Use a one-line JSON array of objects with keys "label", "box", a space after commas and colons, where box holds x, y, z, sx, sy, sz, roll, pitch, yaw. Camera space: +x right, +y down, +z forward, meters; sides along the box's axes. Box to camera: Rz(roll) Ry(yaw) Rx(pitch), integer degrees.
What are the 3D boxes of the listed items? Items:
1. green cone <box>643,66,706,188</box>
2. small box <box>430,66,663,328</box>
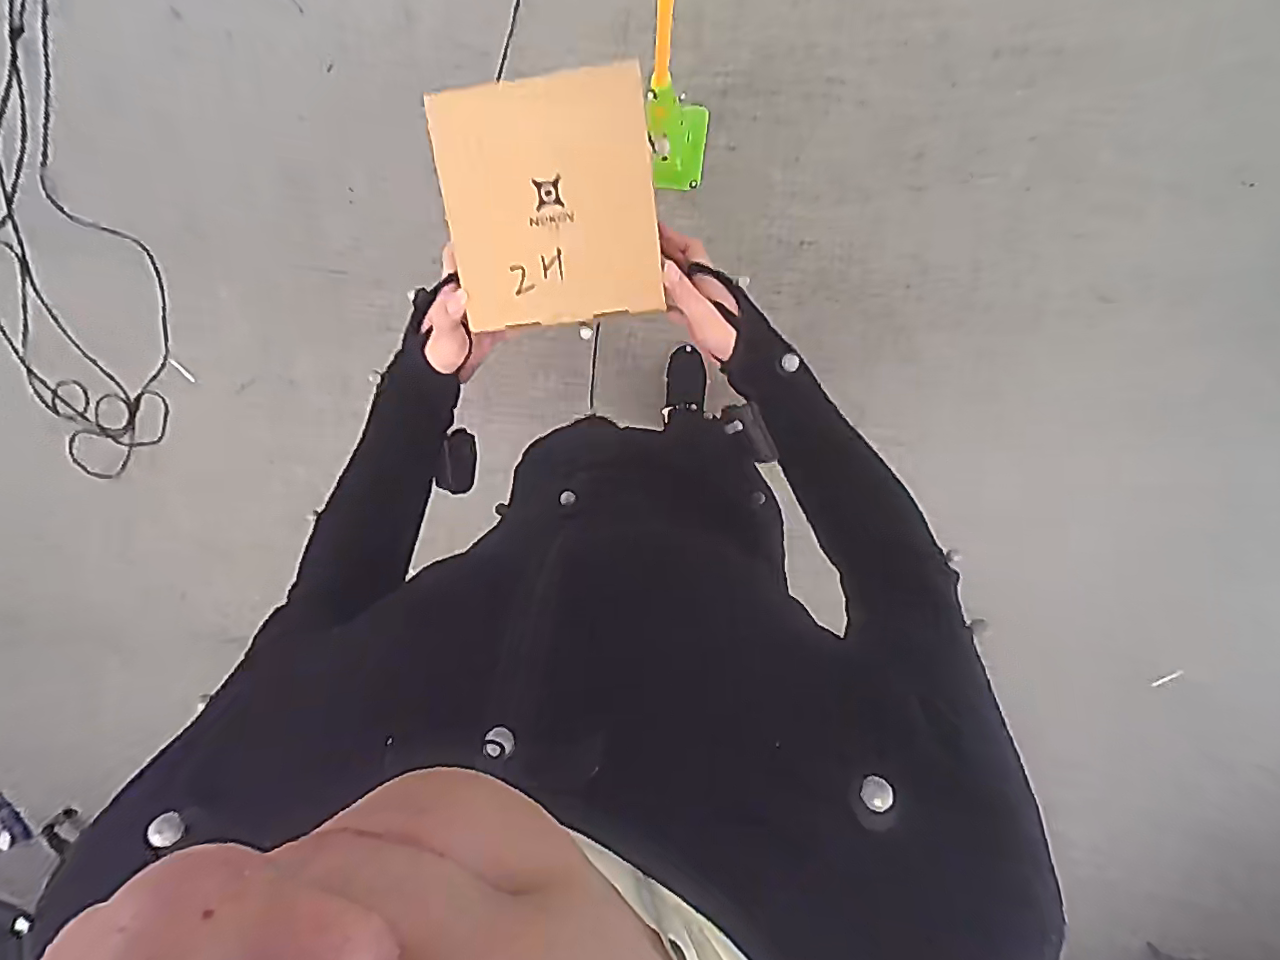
[{"label": "green cone", "box": [0.049, -0.855, 1.263, 0.202, 0.368, 0.200, 8, 102, 4]}, {"label": "small box", "box": [-0.068, -0.239, 0.505, 0.168, 0.176, 0.179, -6, 106, 5]}]
